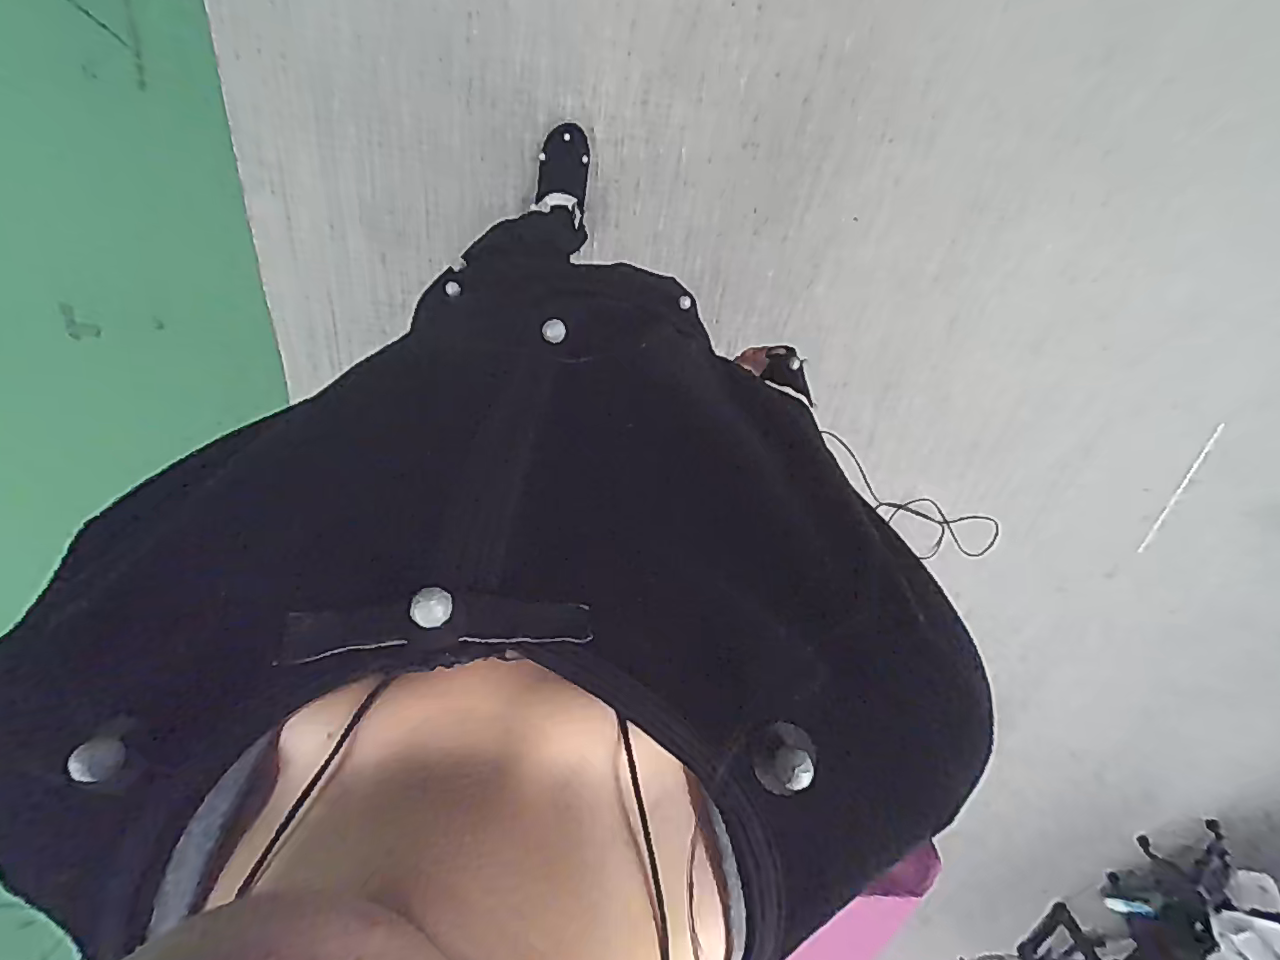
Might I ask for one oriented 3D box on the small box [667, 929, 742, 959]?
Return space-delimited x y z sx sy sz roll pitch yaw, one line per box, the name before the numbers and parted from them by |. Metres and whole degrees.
small box | 0.176 1.322 1.427 0.179 0.176 0.168 6 118 -6
